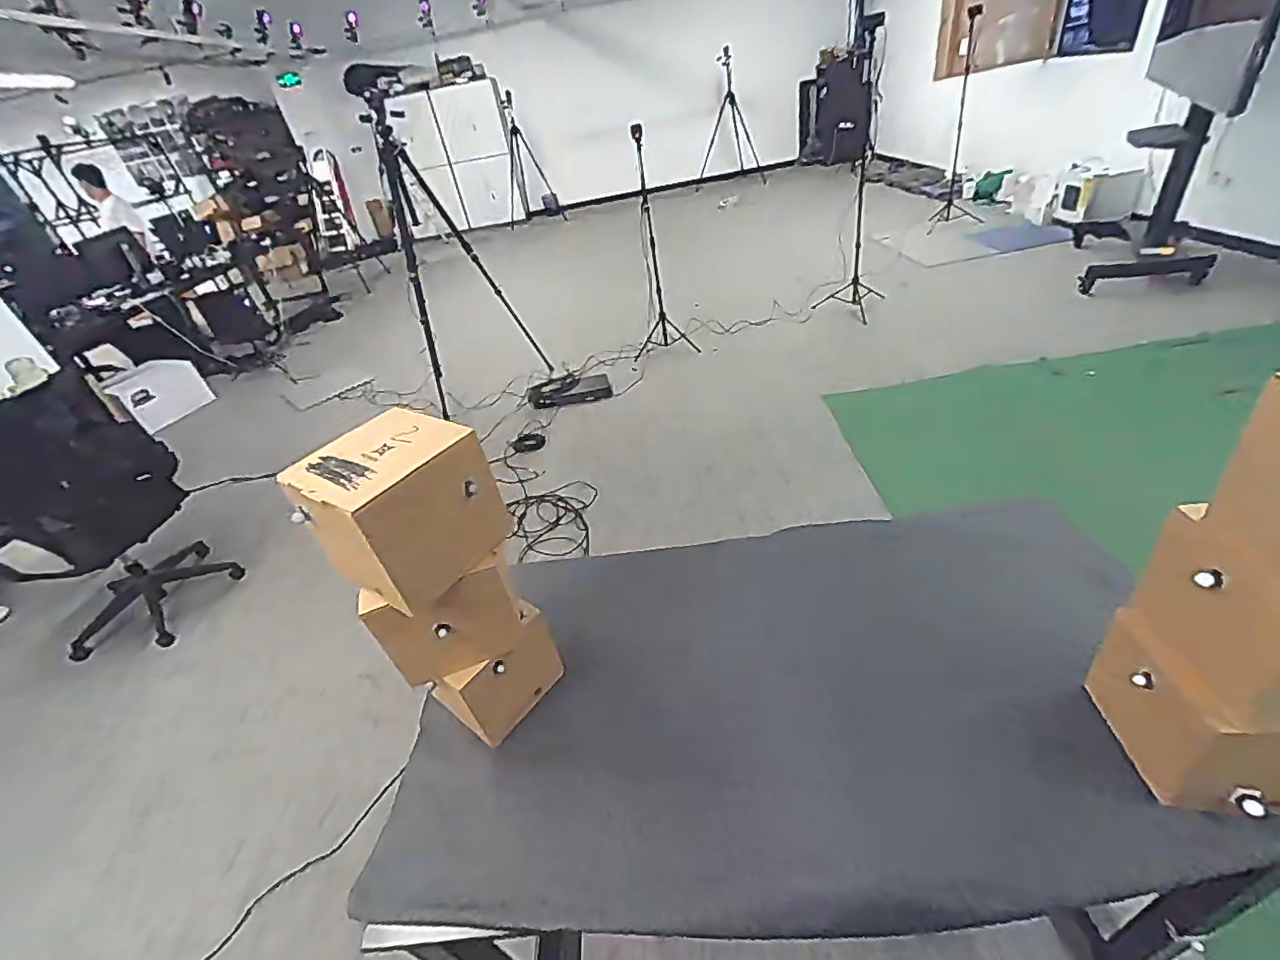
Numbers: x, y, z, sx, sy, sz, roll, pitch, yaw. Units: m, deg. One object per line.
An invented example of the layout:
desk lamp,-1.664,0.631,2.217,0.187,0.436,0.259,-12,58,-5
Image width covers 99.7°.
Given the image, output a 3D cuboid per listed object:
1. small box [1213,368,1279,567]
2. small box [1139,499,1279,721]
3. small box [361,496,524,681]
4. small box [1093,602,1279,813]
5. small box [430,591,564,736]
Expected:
small box,0.658,0.007,0.448,0.168,0.176,0.179,-5,32,10
small box,0.681,0.131,0.557,0.168,0.176,0.179,-6,32,10
small box,-0.281,0.158,0.795,0.179,0.176,0.168,-20,38,-11
small box,0.694,0.266,0.647,0.168,0.176,0.179,-5,34,12
small box,-0.254,0.285,0.896,0.179,0.176,0.168,19,47,35
